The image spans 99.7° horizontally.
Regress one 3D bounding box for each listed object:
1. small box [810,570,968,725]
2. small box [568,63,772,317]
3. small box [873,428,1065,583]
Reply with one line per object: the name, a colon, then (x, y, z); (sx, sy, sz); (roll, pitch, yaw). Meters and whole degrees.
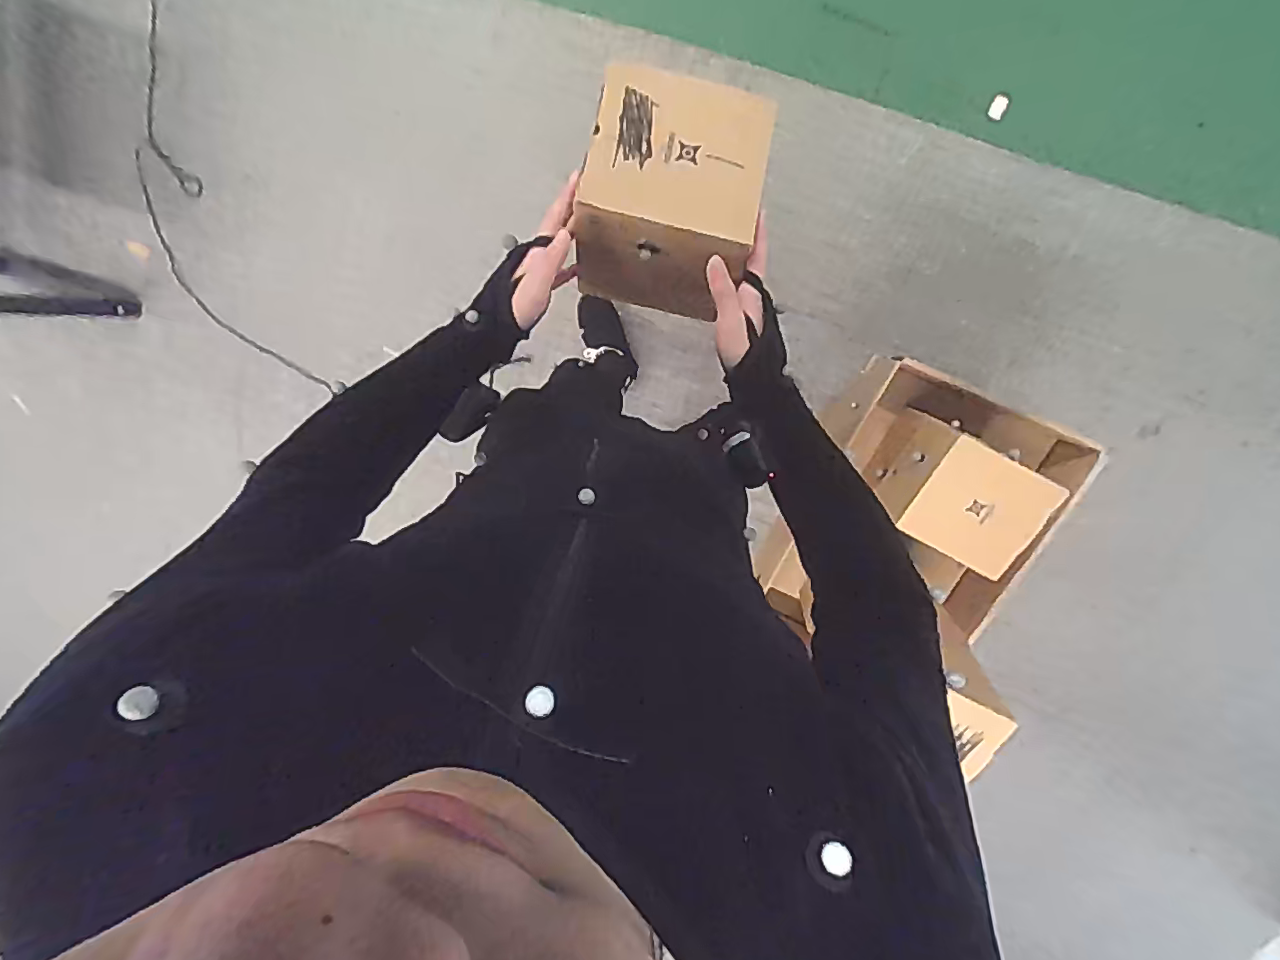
small box: (0.421, 0.281, 0.953); (0.179, 0.176, 0.168); (26, 109, 2)
small box: (0.025, -0.303, 0.601); (0.179, 0.176, 0.168); (12, 80, -4)
small box: (0.508, 0.029, 0.871); (0.179, 0.176, 0.168); (29, 108, 1)
